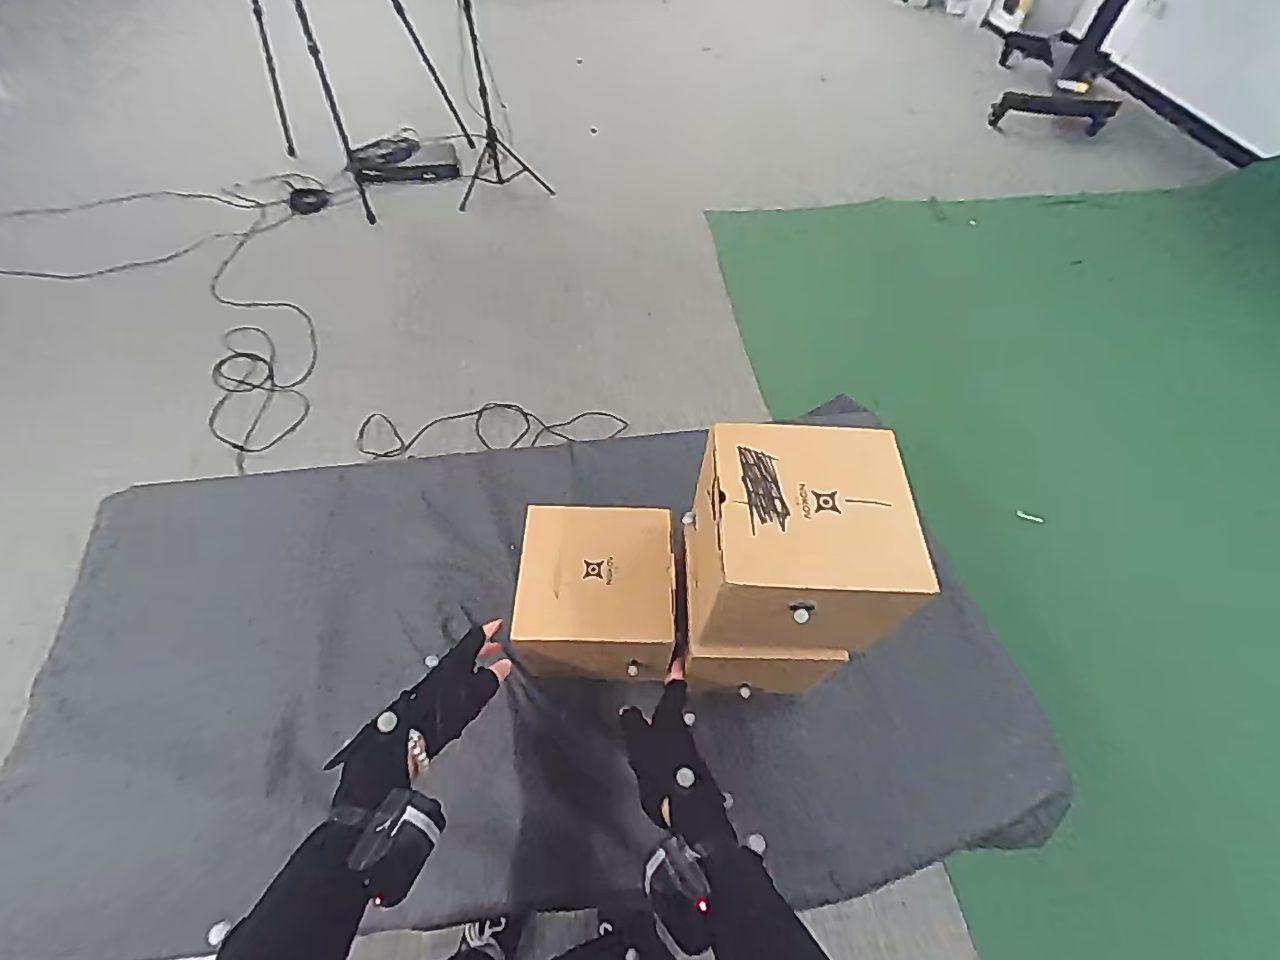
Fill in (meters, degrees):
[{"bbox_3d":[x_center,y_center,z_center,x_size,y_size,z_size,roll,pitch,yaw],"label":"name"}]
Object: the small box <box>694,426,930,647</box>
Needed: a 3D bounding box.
[{"bbox_3d":[0.148,0.063,0.543,0.179,0.176,0.168,2,58,-1],"label":"small box"}]
